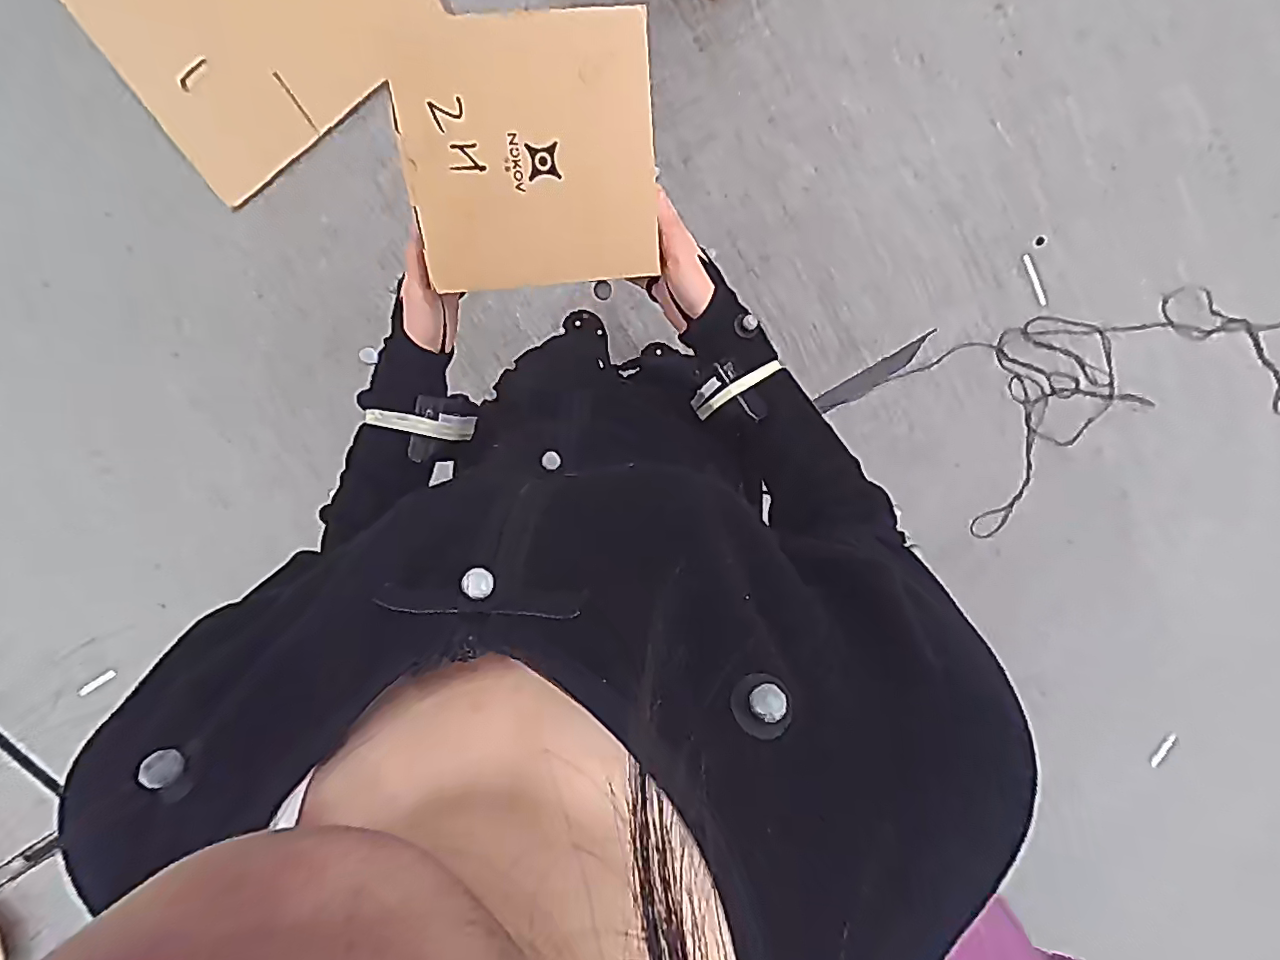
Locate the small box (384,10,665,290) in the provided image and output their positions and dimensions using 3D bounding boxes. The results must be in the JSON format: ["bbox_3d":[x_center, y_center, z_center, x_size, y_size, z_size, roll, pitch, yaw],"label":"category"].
[{"bbox_3d":[-0.079,-0.255,0.448,0.179,0.176,0.168,-5,114,-4],"label":"small box"}]
